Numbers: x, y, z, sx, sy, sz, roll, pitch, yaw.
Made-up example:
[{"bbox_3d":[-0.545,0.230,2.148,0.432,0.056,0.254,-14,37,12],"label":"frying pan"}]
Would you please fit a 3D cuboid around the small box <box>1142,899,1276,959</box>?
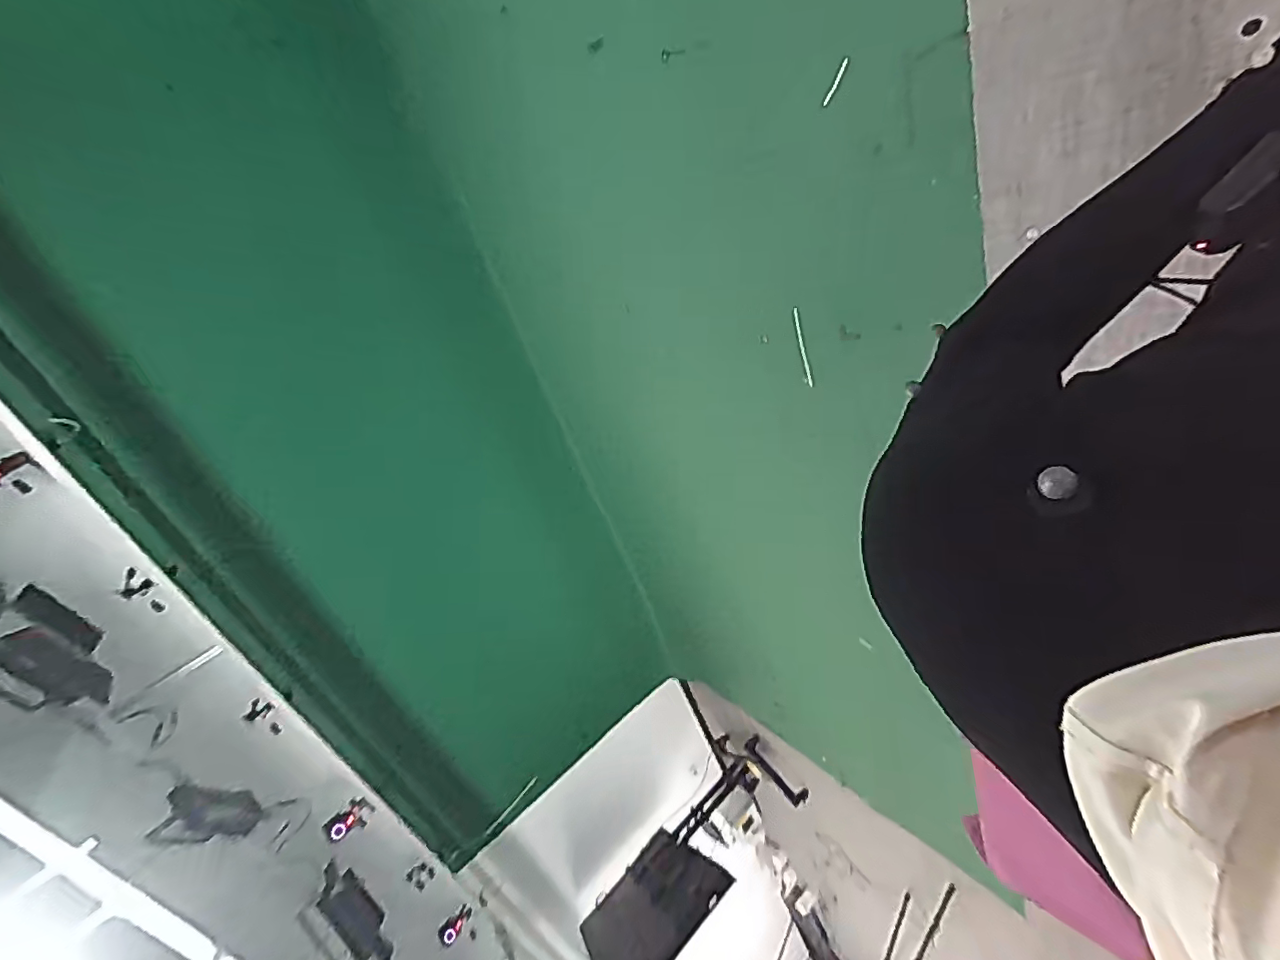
[{"bbox_3d":[1.120,0.991,1.060,0.168,0.176,0.179,11,131,55],"label":"small box"}]
